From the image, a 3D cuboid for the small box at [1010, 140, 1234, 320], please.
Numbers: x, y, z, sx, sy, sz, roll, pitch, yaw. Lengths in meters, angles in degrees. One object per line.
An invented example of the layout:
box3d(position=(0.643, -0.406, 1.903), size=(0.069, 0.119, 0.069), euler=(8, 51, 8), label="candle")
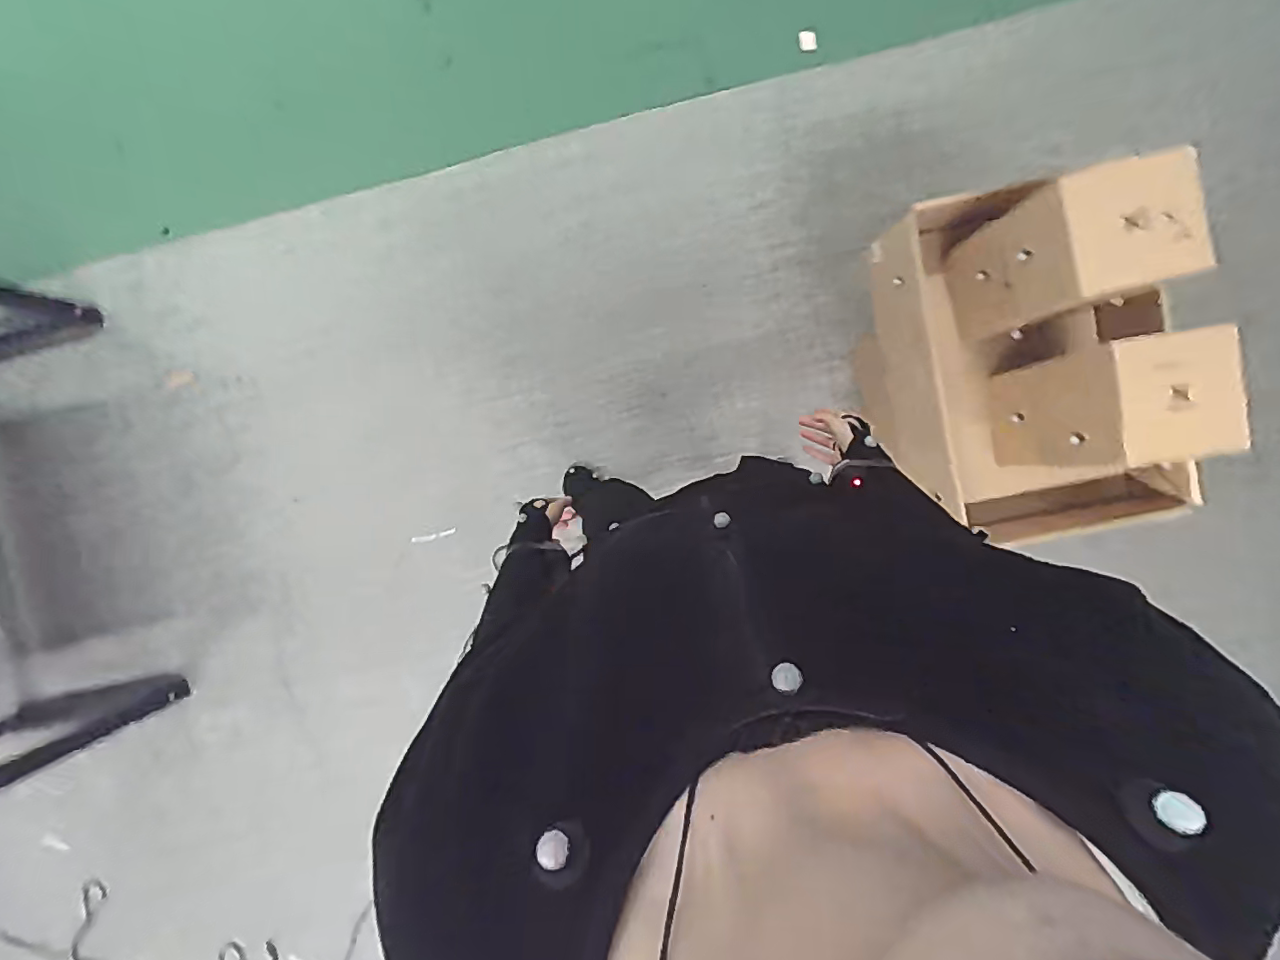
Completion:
box3d(position=(0.674, -0.346, 0.784), size=(0.179, 0.176, 0.168), euler=(-11, 92, 5), label="small box")
